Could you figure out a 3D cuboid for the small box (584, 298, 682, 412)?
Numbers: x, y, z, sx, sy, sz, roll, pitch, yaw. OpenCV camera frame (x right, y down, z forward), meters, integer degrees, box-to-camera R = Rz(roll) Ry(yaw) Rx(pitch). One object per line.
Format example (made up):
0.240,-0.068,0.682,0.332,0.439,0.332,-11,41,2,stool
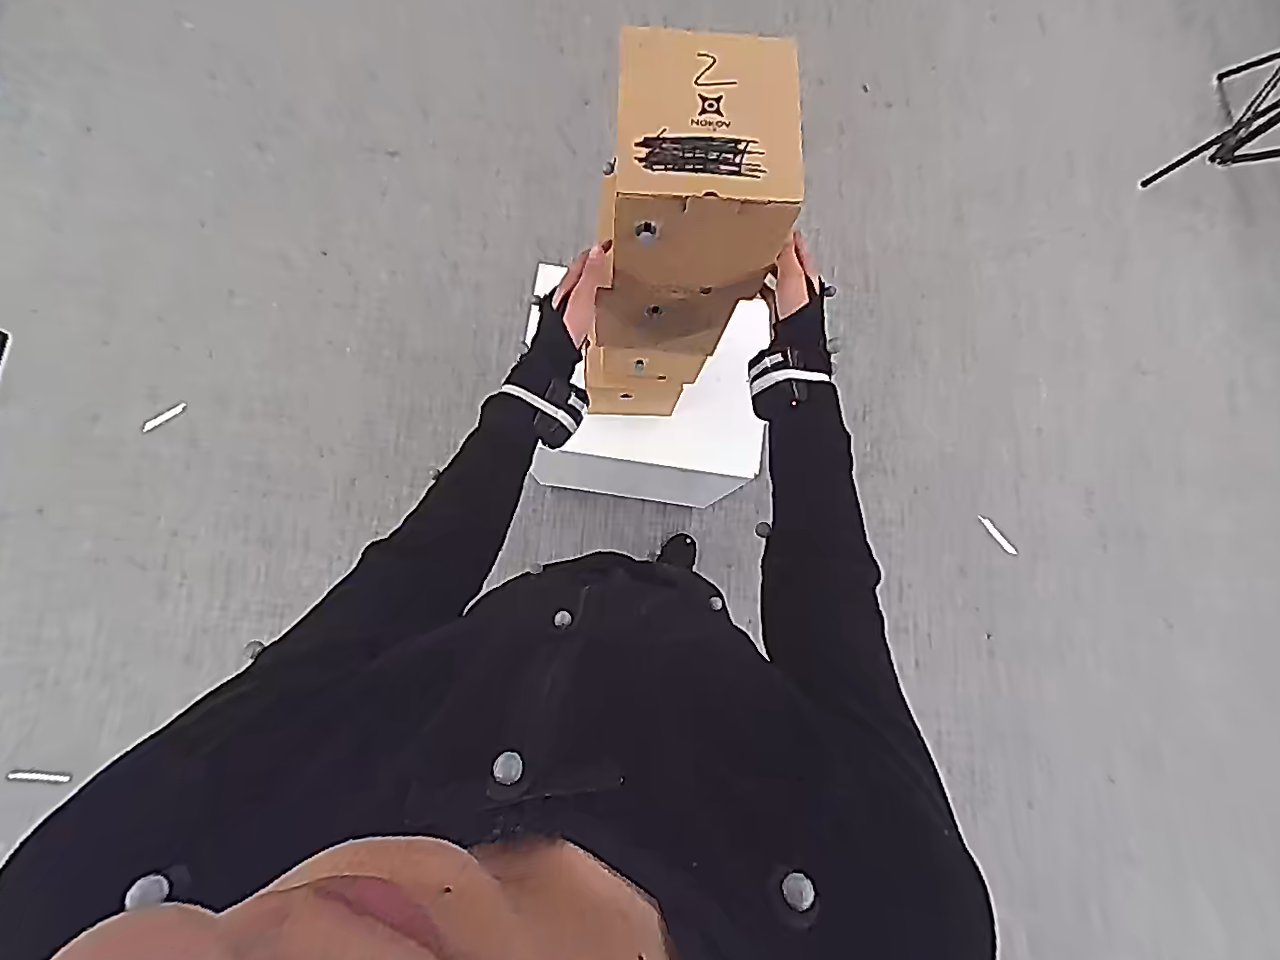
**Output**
-0.016,-0.232,1.041,0.179,0.176,0.168,1,81,-5,small box

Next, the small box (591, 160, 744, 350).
0.030,-0.286,0.721,0.179,0.176,0.168,5,81,-3,small box

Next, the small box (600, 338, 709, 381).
0.022,-0.272,0.886,0.168,0.176,0.179,2,80,-4,small box
